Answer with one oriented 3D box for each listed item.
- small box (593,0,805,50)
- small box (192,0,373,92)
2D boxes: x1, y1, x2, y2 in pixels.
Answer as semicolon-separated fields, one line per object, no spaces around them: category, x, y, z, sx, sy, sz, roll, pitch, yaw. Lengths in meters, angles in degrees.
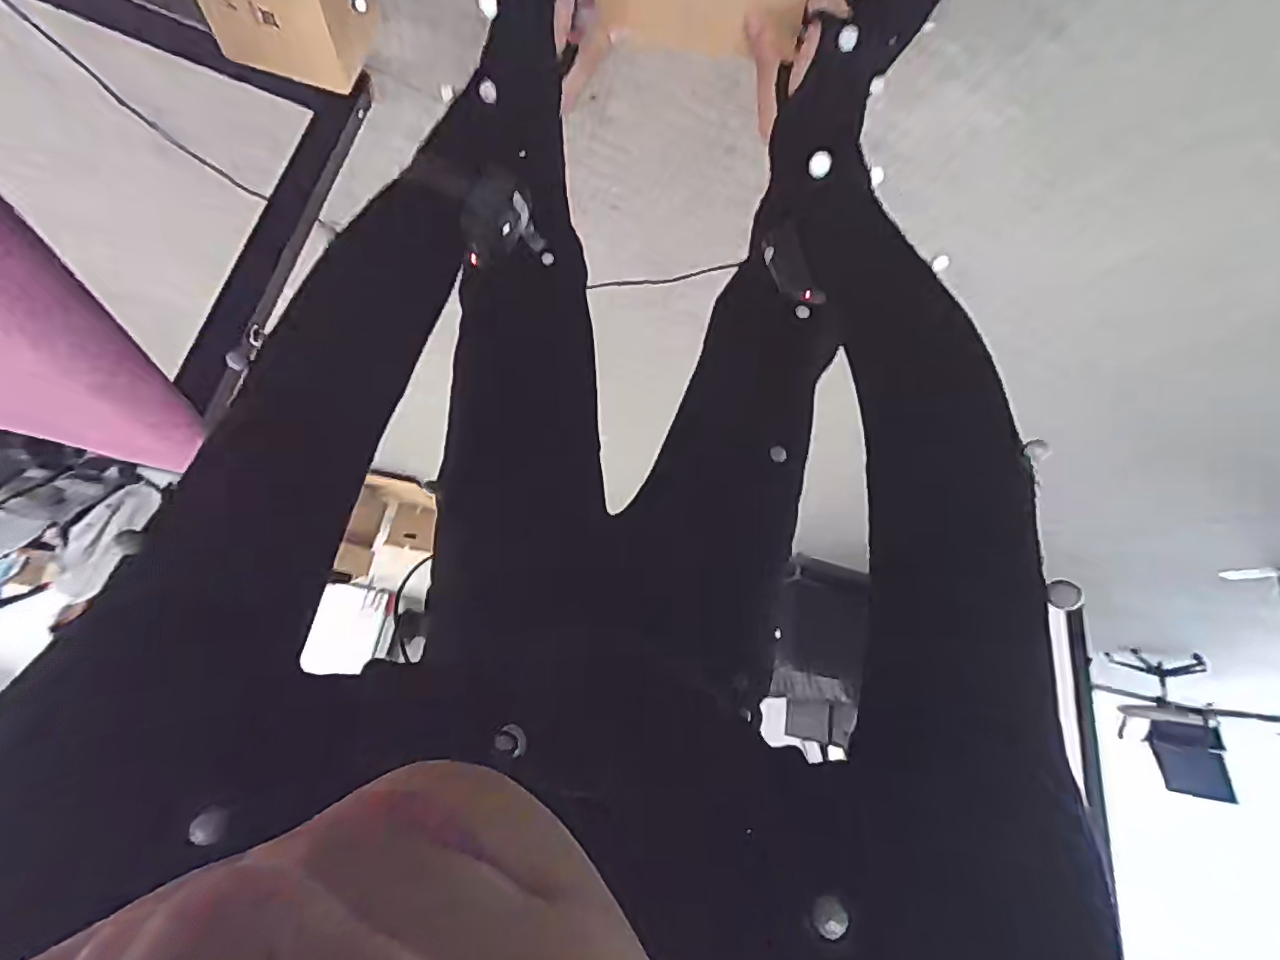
small box;0.062;-0.471;0.403;0.168;0.176;0.179;11;150;1
small box;-0.480;-0.680;0.725;0.179;0.176;0.168;13;160;-8
